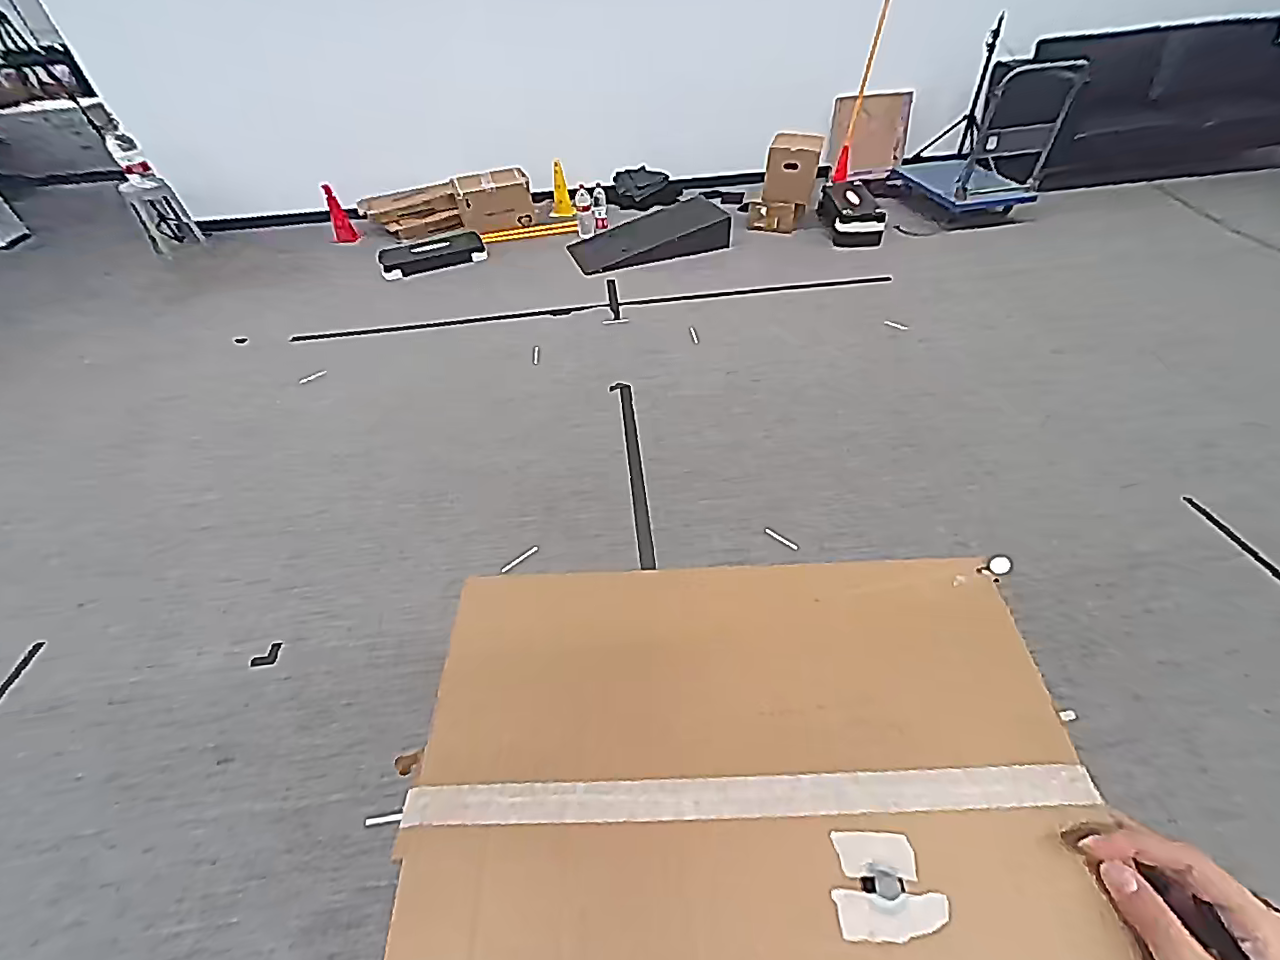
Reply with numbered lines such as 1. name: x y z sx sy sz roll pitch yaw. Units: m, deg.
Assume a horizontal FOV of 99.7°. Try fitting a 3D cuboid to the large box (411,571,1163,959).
1. large box: 0.076 0.295 0.445 0.408 0.320 0.320 -3 52 1
